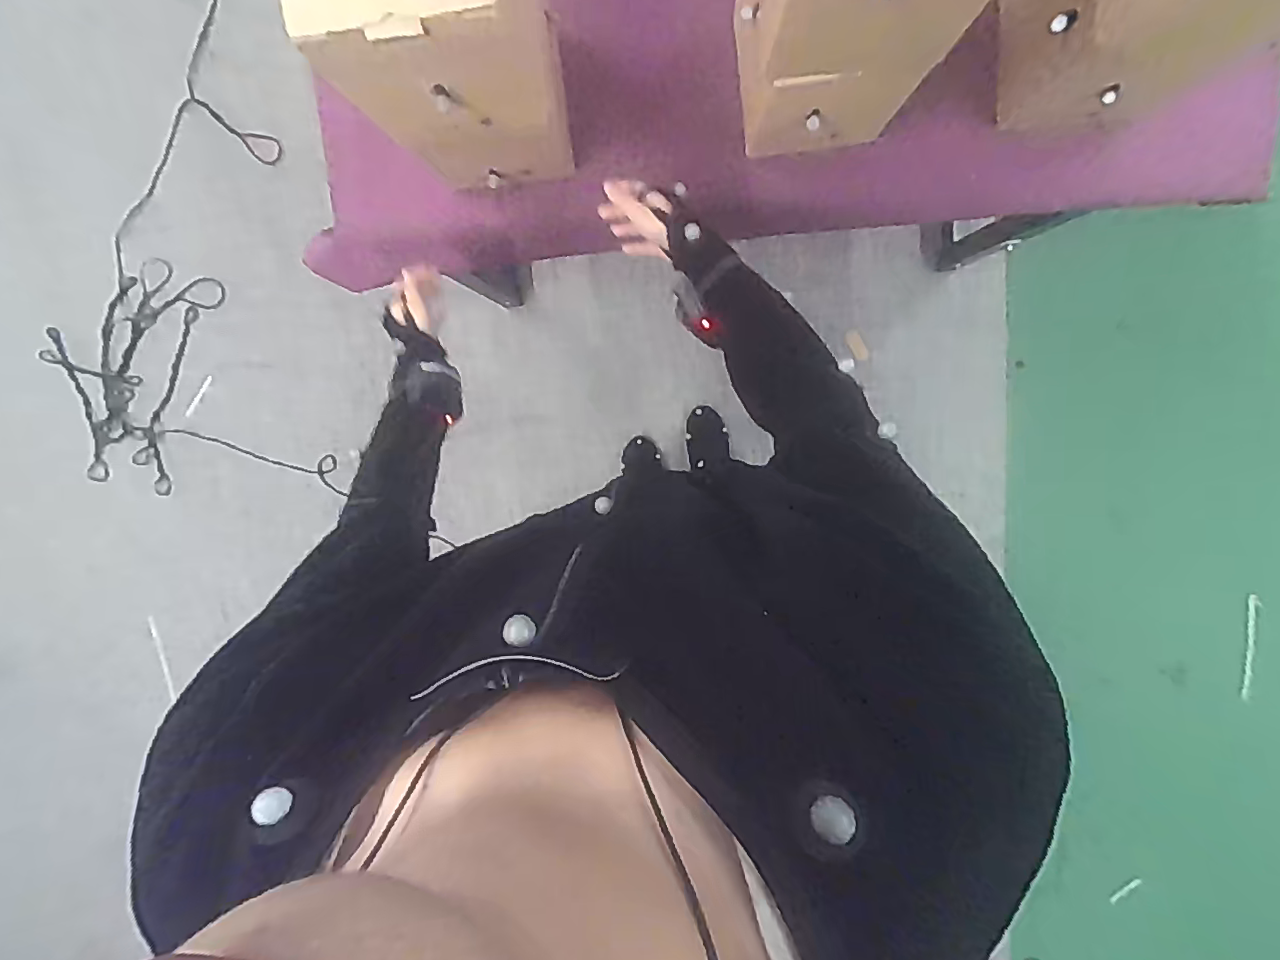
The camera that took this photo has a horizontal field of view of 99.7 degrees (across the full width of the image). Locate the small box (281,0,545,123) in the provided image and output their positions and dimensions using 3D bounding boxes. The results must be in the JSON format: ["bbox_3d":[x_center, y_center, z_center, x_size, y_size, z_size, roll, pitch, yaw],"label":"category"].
[{"bbox_3d":[-0.185,-0.436,0.463,0.168,0.176,0.179,-4,99,3],"label":"small box"}]

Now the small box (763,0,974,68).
[{"bbox_3d":[0.199,-0.476,0.442,0.179,0.176,0.168,-3,97,2],"label":"small box"}]

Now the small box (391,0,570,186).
[{"bbox_3d":[-0.181,-0.471,0.623,0.168,0.176,0.179,-6,99,3],"label":"small box"}]

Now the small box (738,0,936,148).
[{"bbox_3d":[0.206,-0.500,0.604,0.168,0.176,0.179,-6,97,3],"label":"small box"}]
